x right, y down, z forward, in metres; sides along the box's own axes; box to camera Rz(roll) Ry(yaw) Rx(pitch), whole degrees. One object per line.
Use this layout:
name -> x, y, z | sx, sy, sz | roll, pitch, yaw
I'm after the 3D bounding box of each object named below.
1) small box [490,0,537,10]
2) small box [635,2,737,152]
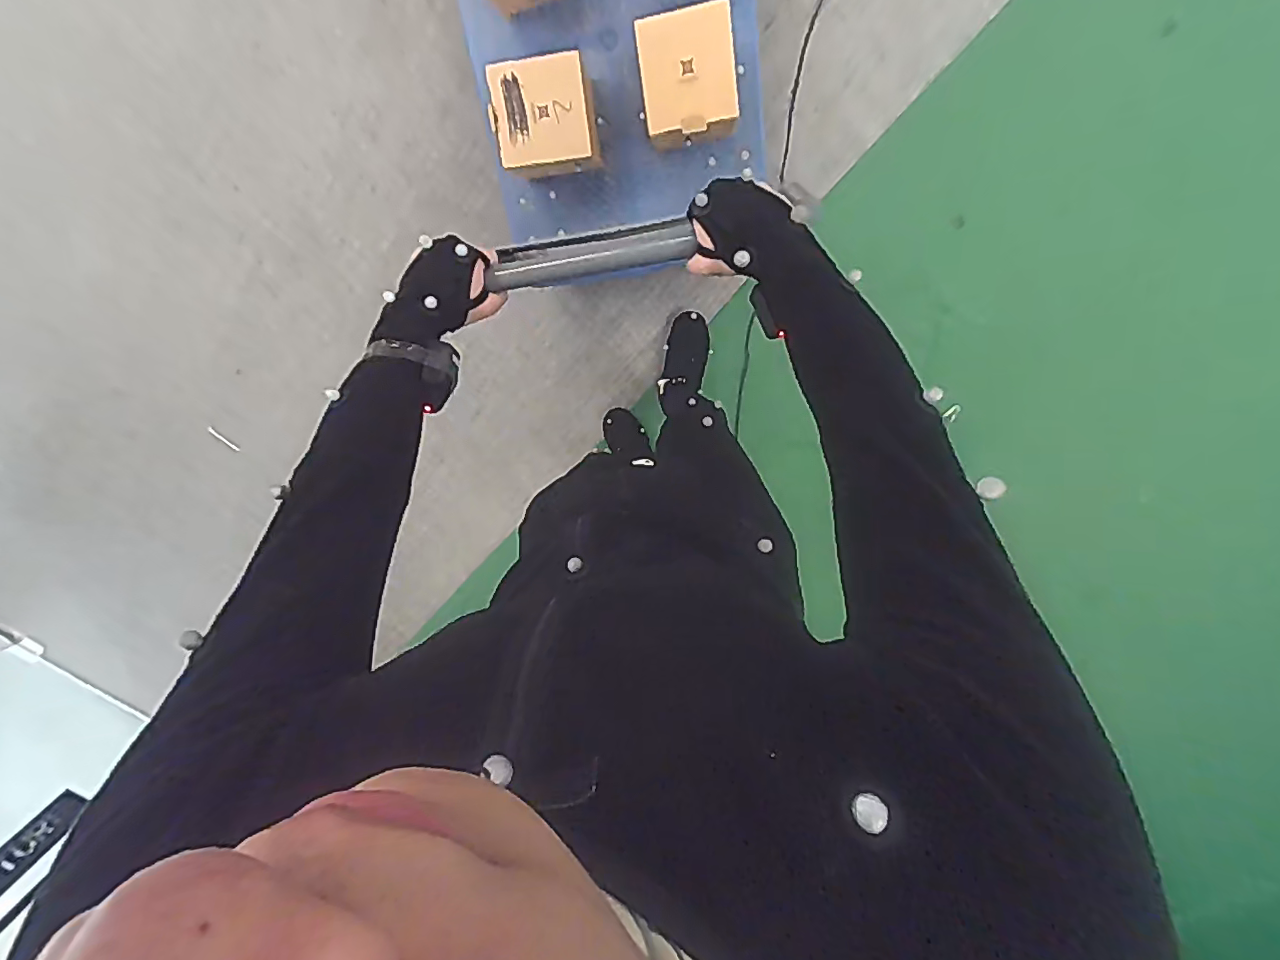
small box -> -0.221, -0.970, 0.946 | 0.168, 0.176, 0.179 | -12, 112, 9
small box -> 0.087, -0.746, 1.021 | 0.168, 0.176, 0.179 | -7, 113, 8
